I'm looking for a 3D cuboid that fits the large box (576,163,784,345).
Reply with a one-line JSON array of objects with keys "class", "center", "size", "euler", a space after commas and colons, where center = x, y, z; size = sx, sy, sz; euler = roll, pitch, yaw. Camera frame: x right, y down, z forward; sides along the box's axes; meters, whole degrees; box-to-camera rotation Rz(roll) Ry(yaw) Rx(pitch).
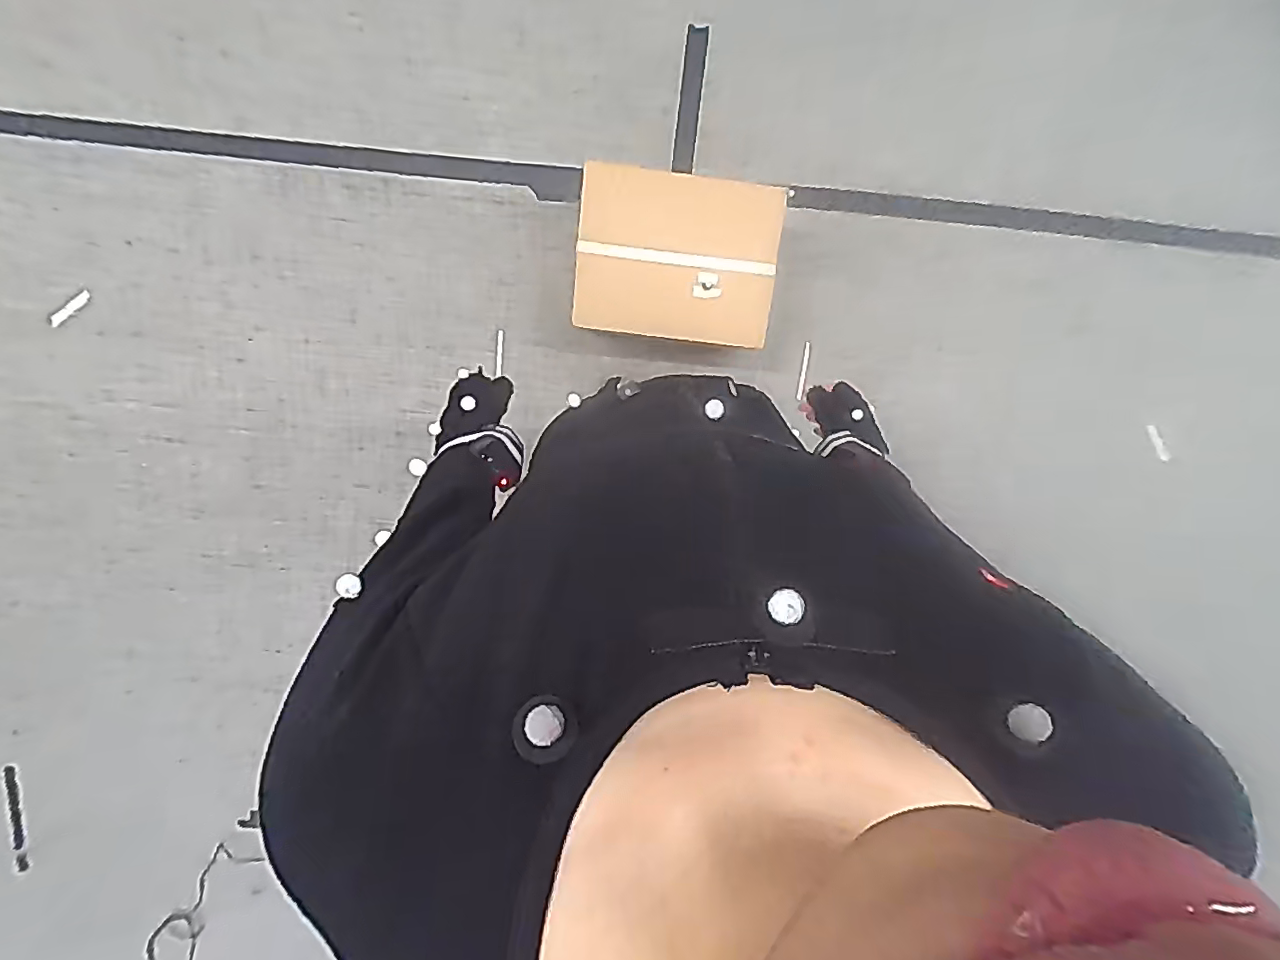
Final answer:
[{"class": "large box", "center": [0.069, -0.486, 1.237], "size": [0.408, 0.320, 0.320], "euler": [5, 104, -4]}]
